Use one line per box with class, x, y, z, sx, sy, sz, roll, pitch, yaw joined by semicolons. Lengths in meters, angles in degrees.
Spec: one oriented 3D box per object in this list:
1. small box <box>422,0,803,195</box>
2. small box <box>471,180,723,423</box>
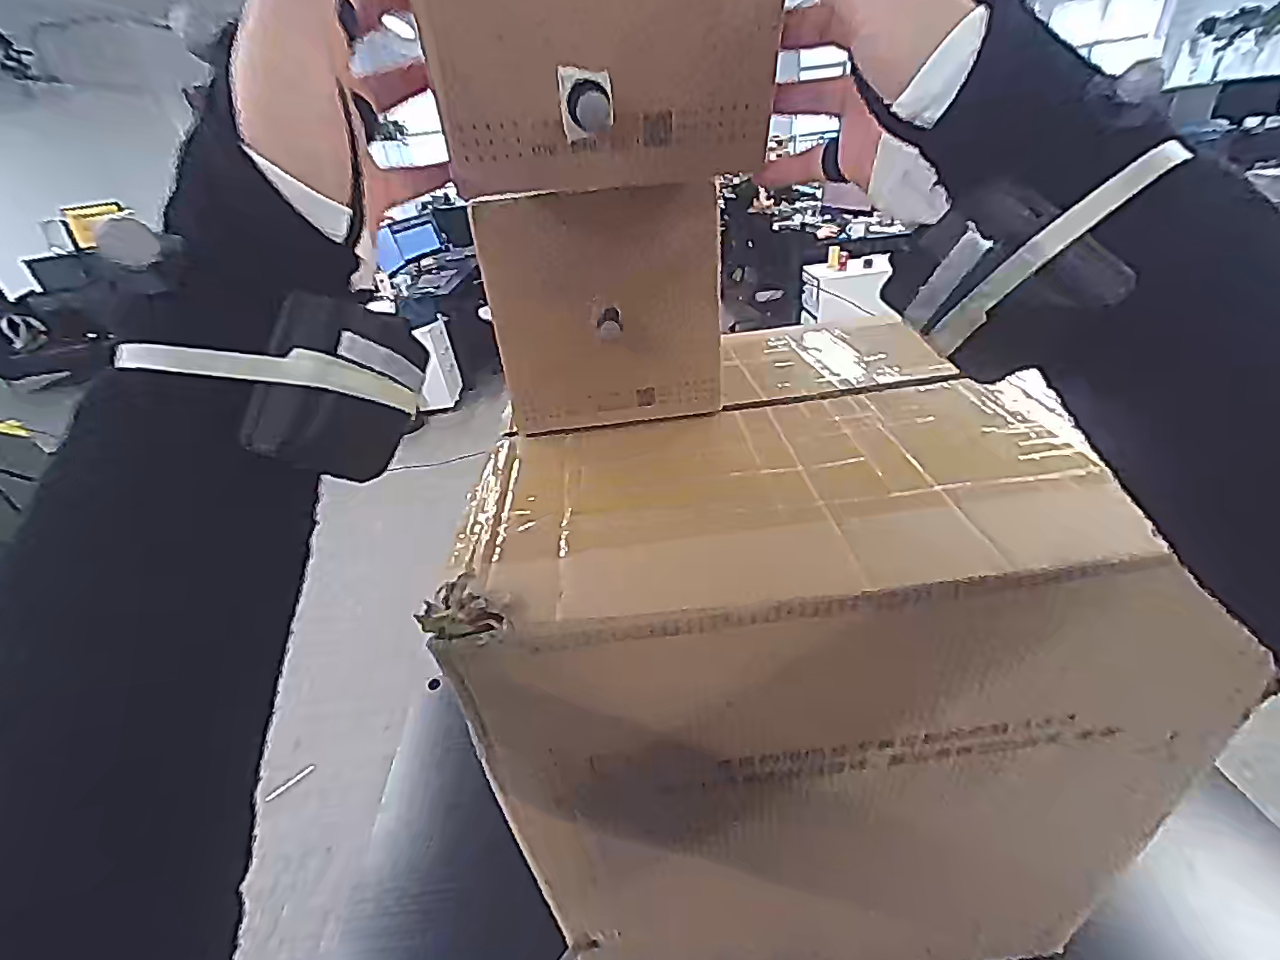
small box;-0.025;-0.265;0.274;0.168;0.176;0.179;-11;48;-8
small box;-0.026;-0.155;0.458;0.168;0.176;0.179;-7;31;-1
